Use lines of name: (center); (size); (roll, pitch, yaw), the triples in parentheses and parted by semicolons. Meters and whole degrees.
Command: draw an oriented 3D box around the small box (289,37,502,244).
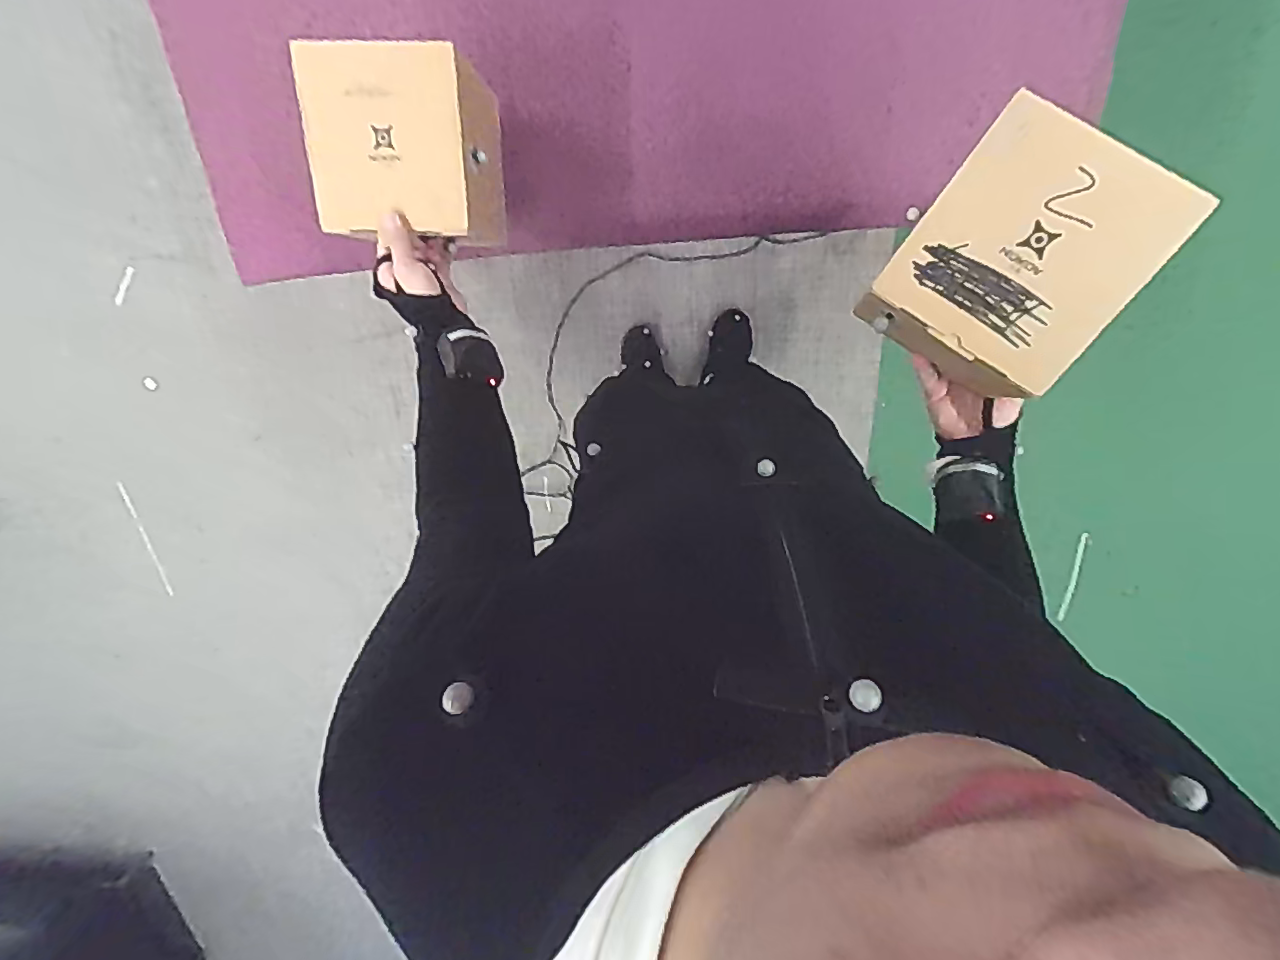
small box: (-0.265, -0.378, 0.634); (0.168, 0.176, 0.179); (2, 109, 1)
